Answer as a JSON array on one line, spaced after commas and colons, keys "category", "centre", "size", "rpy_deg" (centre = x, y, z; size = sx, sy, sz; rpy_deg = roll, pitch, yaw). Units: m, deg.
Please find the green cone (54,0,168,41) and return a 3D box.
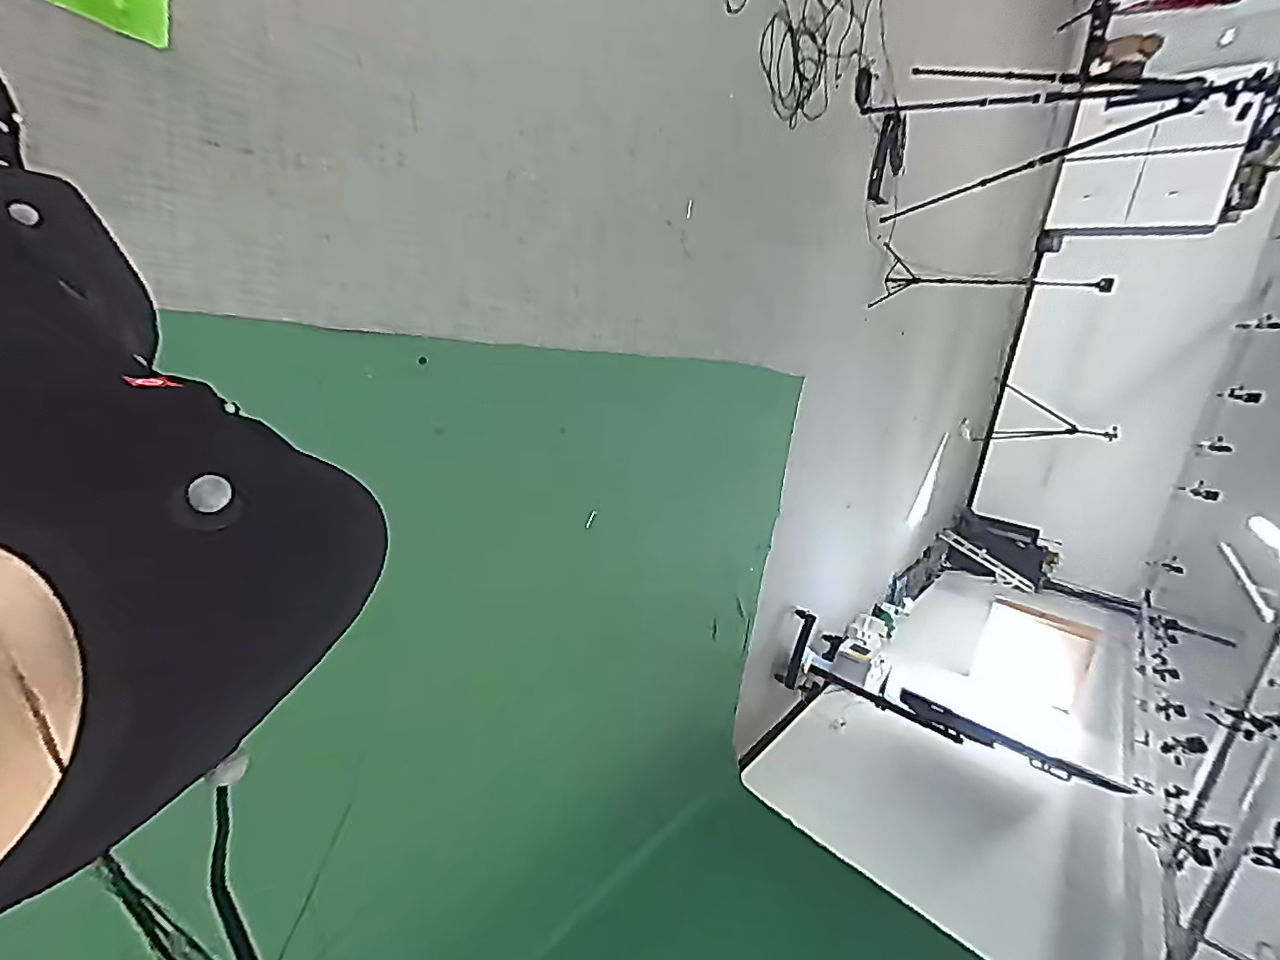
[{"category": "green cone", "centre": [-0.822, -0.874, 0.829], "size": [0.200, 0.368, 0.202], "rpy_deg": [-6, 108, -49]}]
